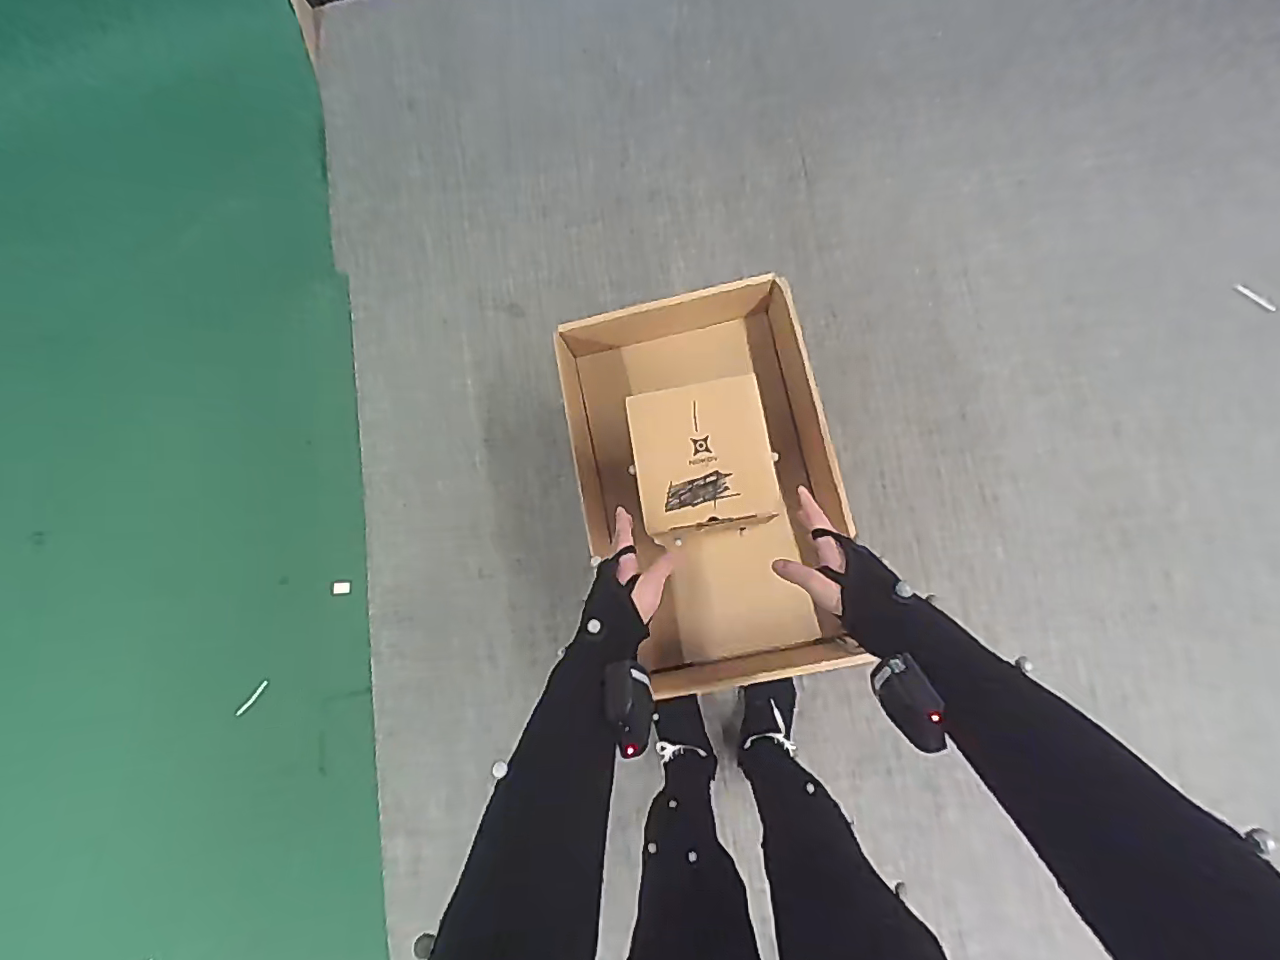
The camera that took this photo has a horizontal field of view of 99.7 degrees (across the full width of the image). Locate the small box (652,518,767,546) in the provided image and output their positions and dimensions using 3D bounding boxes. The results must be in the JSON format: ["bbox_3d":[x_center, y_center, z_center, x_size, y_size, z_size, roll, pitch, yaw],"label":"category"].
[{"bbox_3d":[0.099,0.011,0.886,0.179,0.176,0.168,-12,80,4],"label":"small box"}]

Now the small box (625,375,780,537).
[{"bbox_3d":[0.082,-0.020,0.726,0.168,0.176,0.179,-9,79,5],"label":"small box"}]
